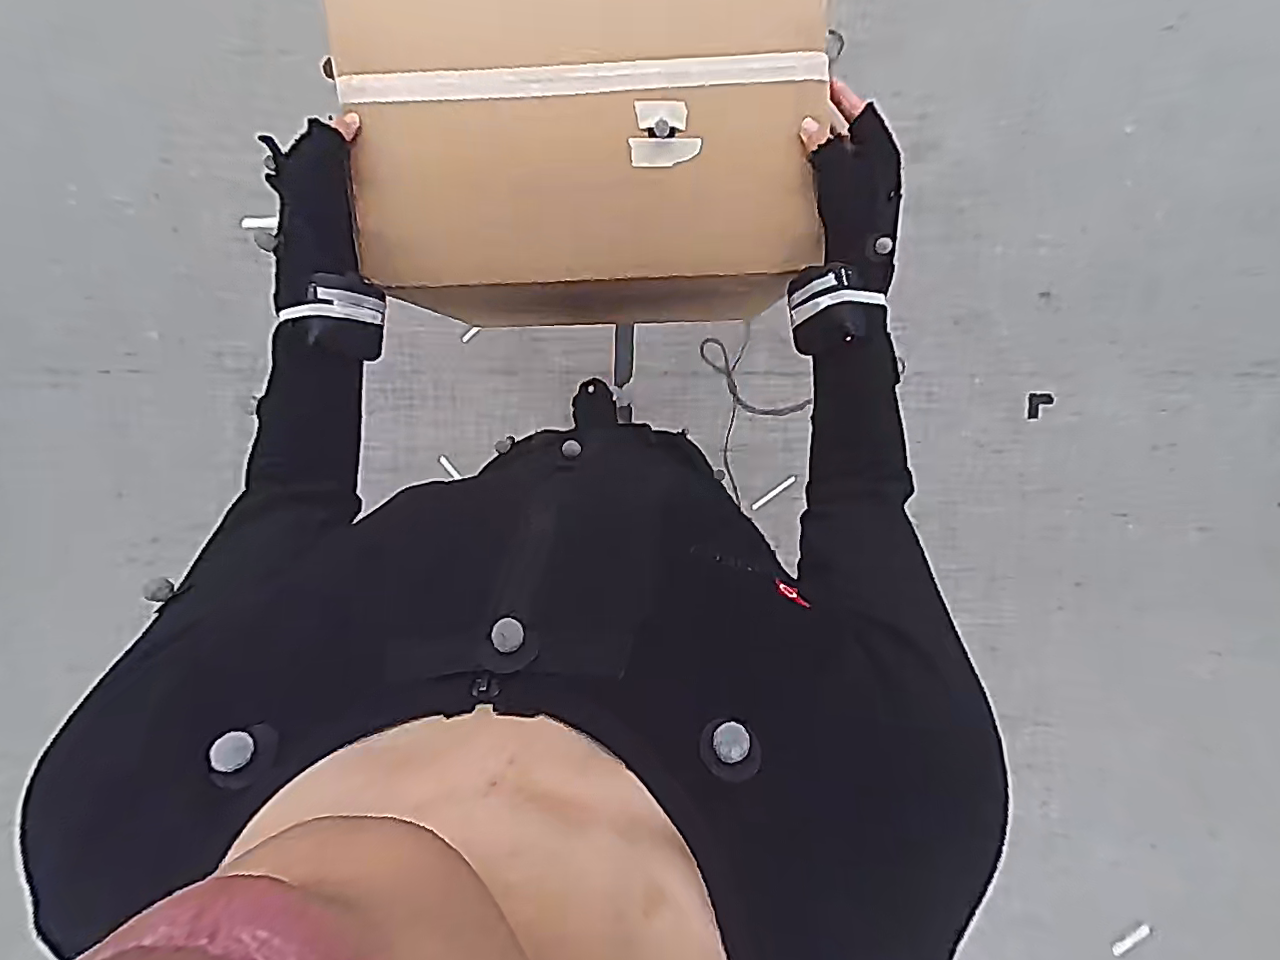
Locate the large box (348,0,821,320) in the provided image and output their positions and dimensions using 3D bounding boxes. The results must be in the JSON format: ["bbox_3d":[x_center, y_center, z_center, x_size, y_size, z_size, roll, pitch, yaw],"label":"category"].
[{"bbox_3d":[-0.045,-0.366,0.609,0.408,0.320,0.320,-2,100,1],"label":"large box"}]
